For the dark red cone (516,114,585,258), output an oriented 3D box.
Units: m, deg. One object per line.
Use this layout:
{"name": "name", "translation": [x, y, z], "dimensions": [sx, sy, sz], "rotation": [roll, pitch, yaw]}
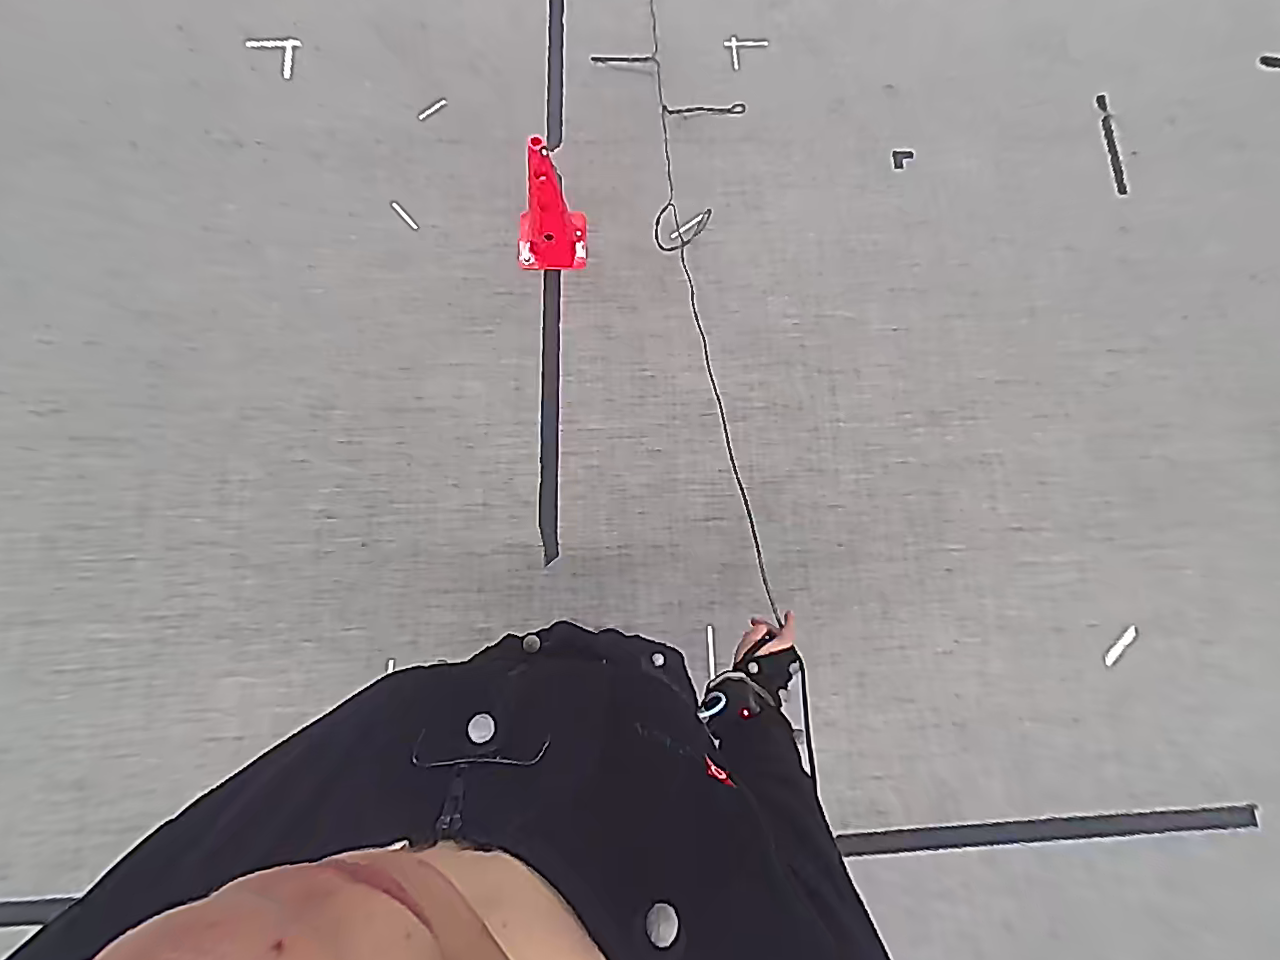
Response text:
{"name": "dark red cone", "translation": [-0.252, -0.779, 1.432], "dimensions": [0.201, 0.394, 0.202], "rotation": [-2, 76, -4]}
